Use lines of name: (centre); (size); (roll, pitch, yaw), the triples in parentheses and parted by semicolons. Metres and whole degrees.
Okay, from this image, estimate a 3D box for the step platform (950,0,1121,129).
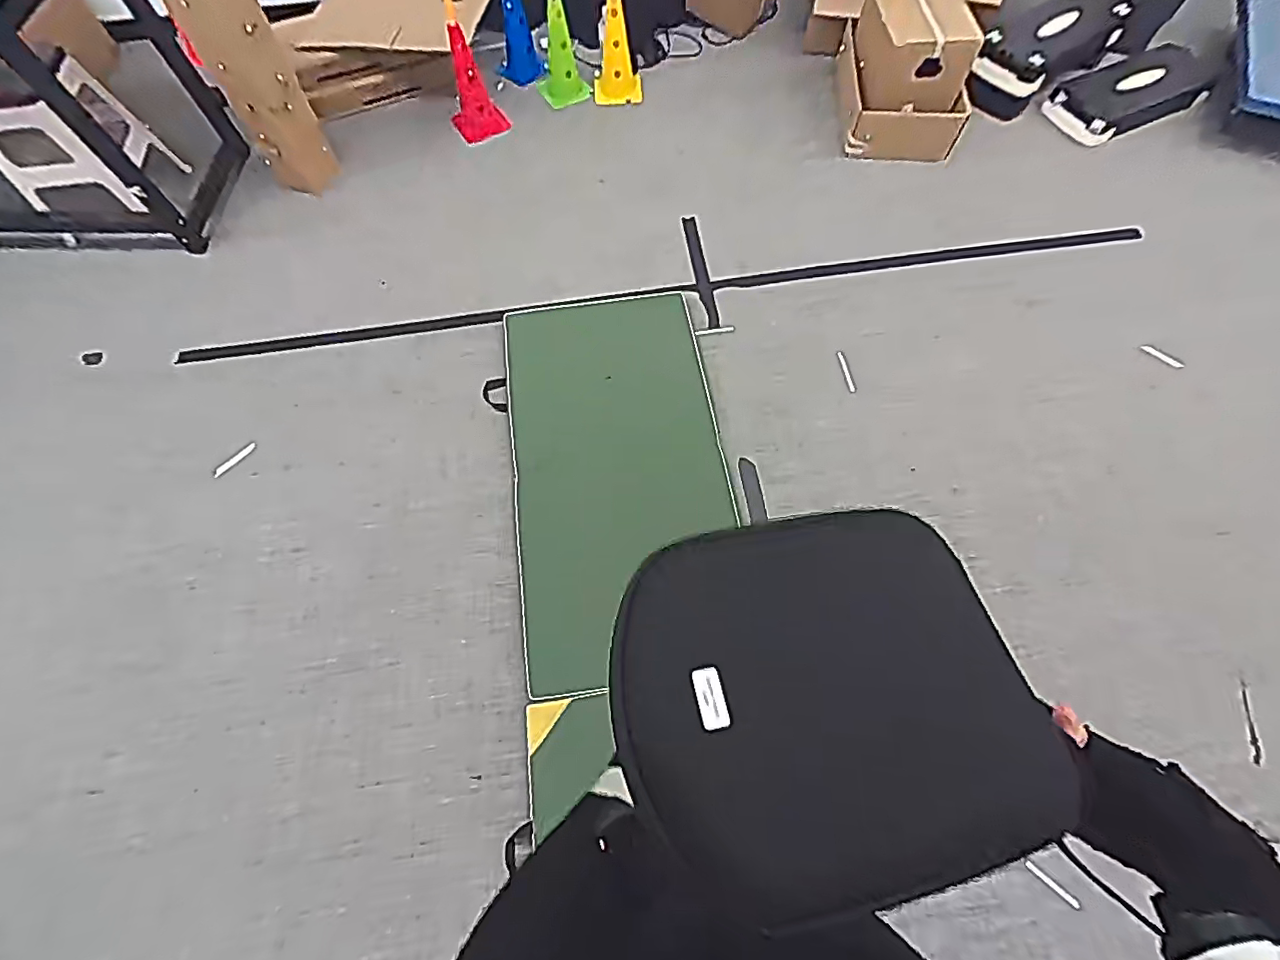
step platform: (1.645, -1.743, 2.251); (0.684, 0.204, 0.286); (-36, 70, -14)
